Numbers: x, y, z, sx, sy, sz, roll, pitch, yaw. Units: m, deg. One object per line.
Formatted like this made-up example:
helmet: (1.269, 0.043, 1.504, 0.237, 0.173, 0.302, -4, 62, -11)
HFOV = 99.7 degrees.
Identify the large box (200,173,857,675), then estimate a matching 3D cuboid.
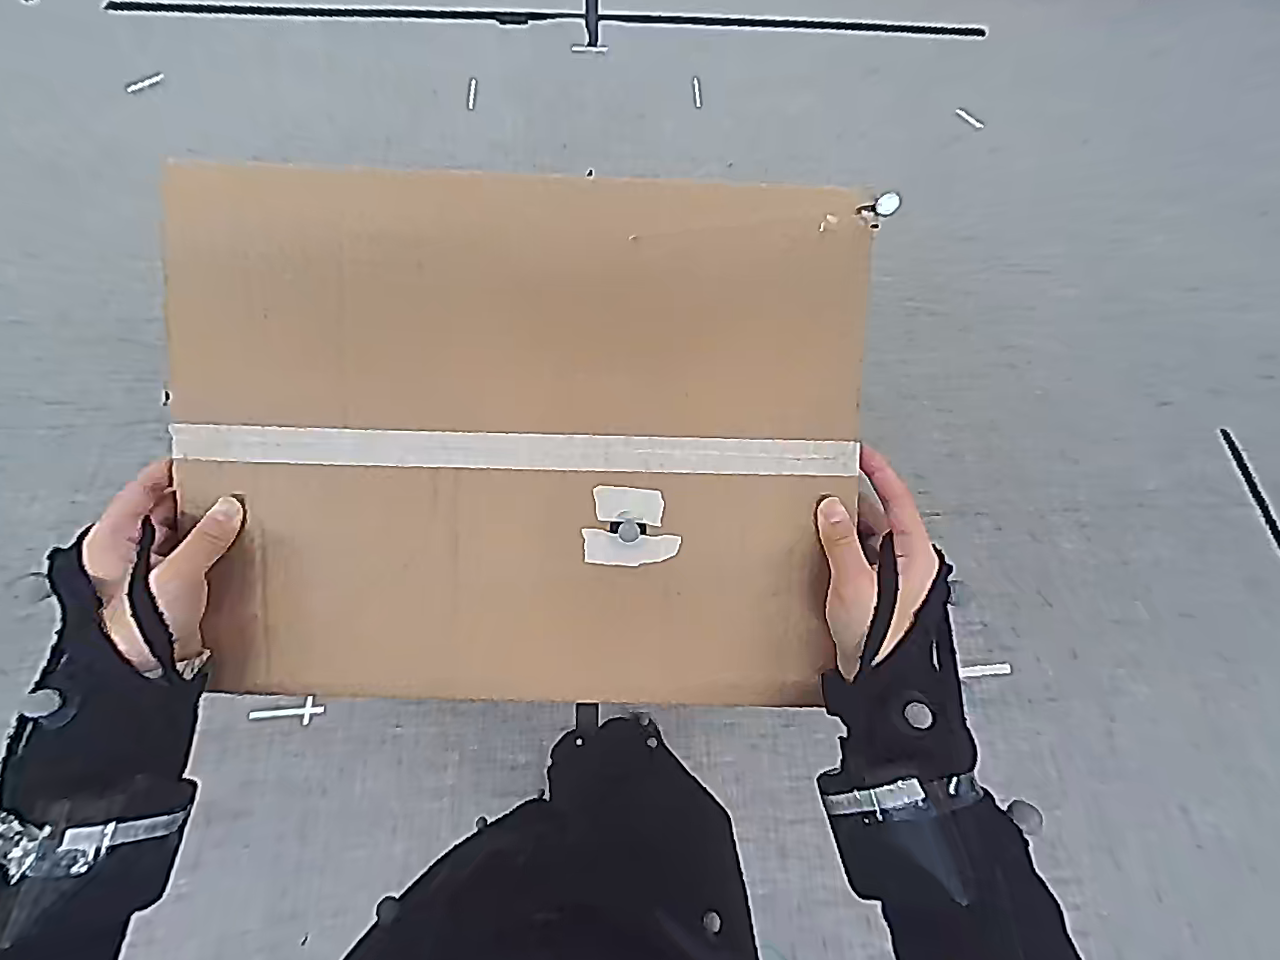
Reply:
large box: (-0.072, -0.039, 0.486, 0.408, 0.320, 0.320, 2, 96, -1)
